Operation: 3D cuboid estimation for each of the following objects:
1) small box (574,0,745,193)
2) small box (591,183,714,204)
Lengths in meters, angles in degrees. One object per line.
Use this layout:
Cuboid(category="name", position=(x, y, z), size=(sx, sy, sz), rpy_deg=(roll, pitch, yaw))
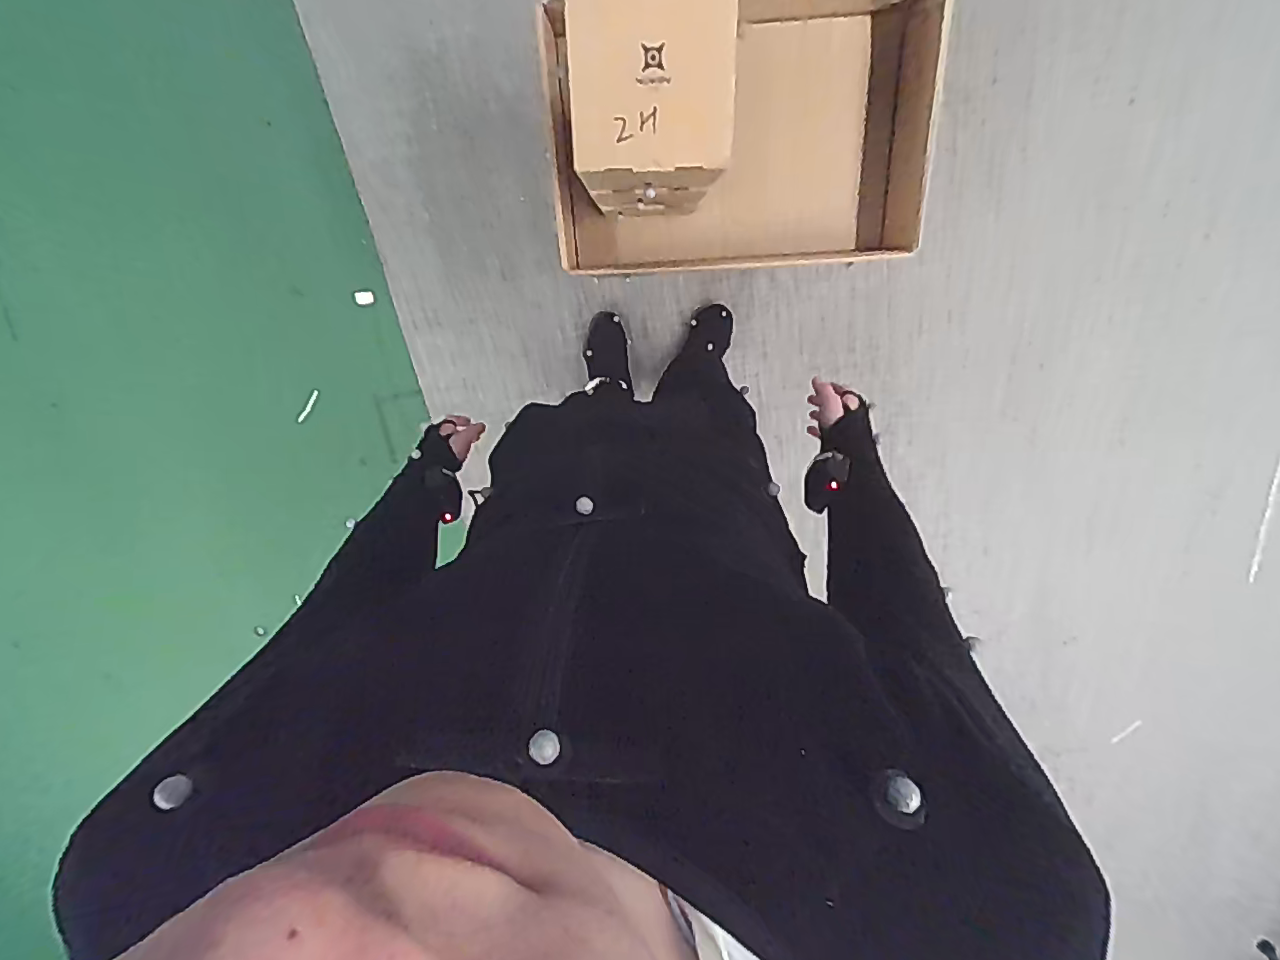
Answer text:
Cuboid(category="small box", position=(0.016, -0.427, 0.602), size=(0.168, 0.176, 0.179), rpy_deg=(-1, 114, -1))
Cuboid(category="small box", position=(0.012, -0.490, 0.755), size=(0.168, 0.176, 0.179), rpy_deg=(-2, 114, -1))
